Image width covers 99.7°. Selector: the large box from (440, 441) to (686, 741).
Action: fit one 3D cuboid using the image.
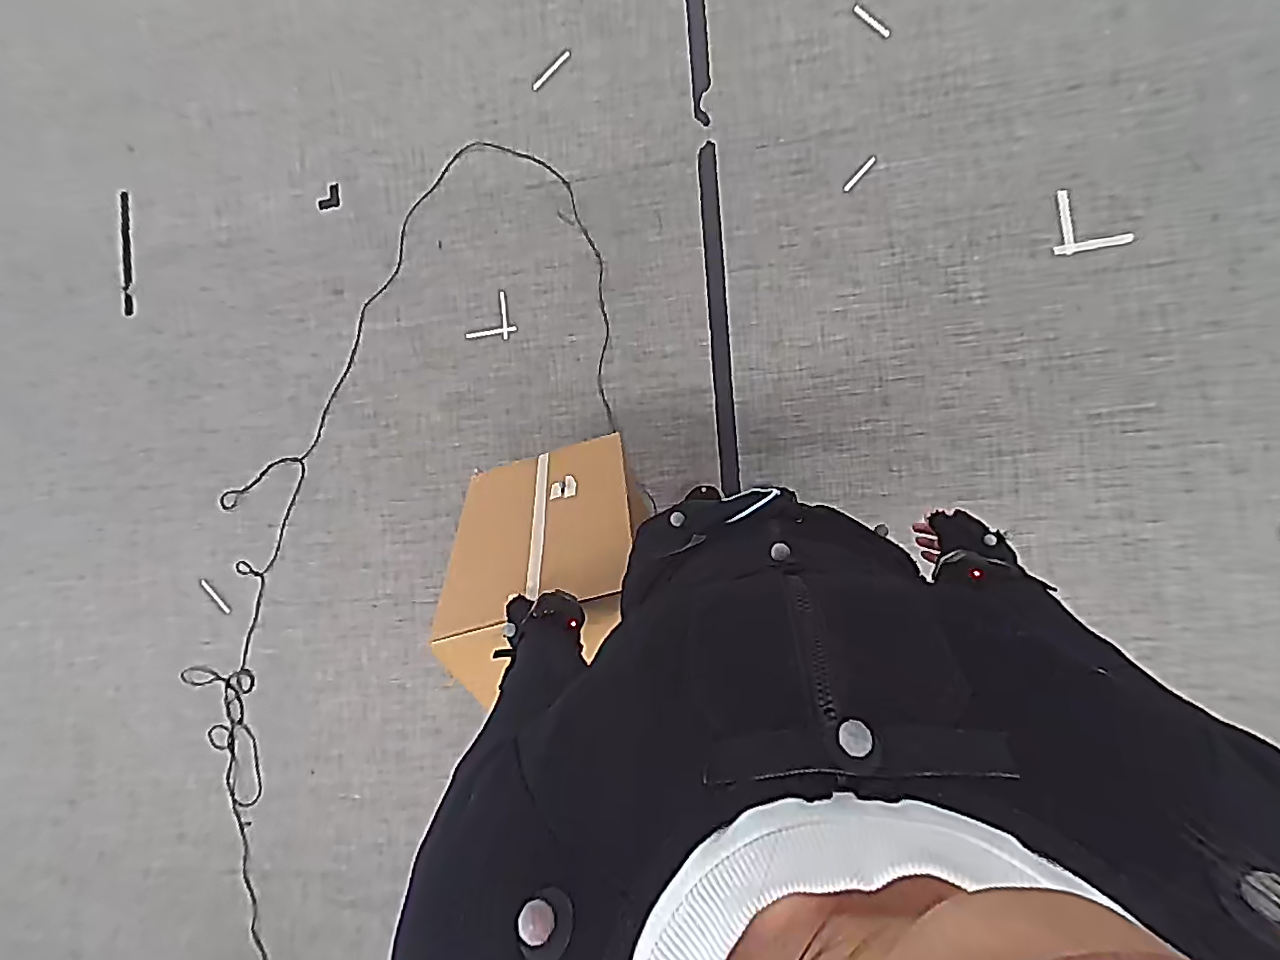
[{"bbox_3d":[-0.124,0.192,1.007,0.320,0.408,0.320,-15,126,5],"label":"large box"}]
